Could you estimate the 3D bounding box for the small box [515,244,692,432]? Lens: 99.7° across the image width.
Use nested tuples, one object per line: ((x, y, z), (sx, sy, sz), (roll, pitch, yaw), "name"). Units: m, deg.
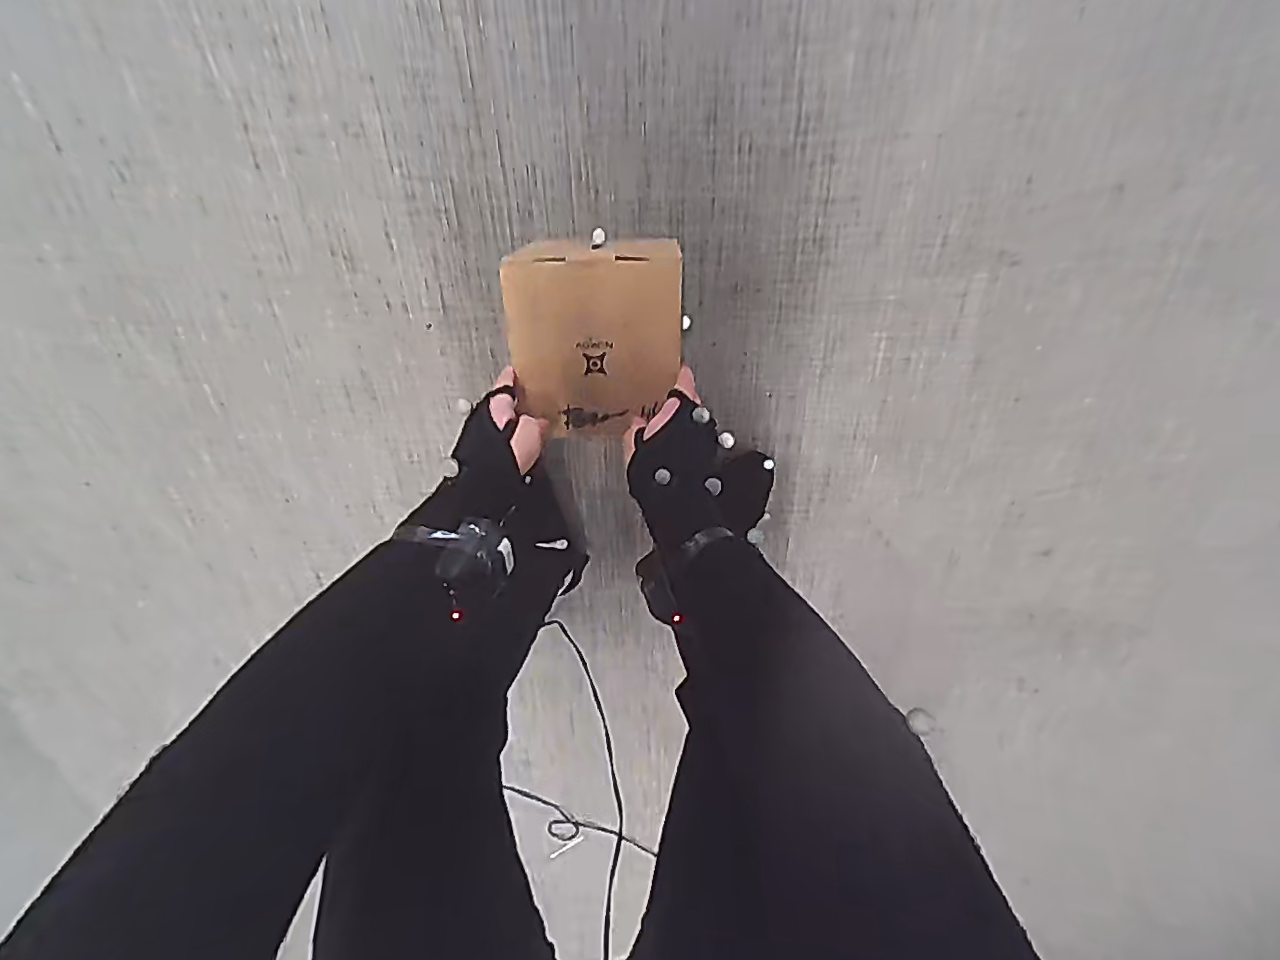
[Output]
((-0.033, -0.164, 0.600), (0.168, 0.176, 0.179), (0, 118, 2), "small box")
